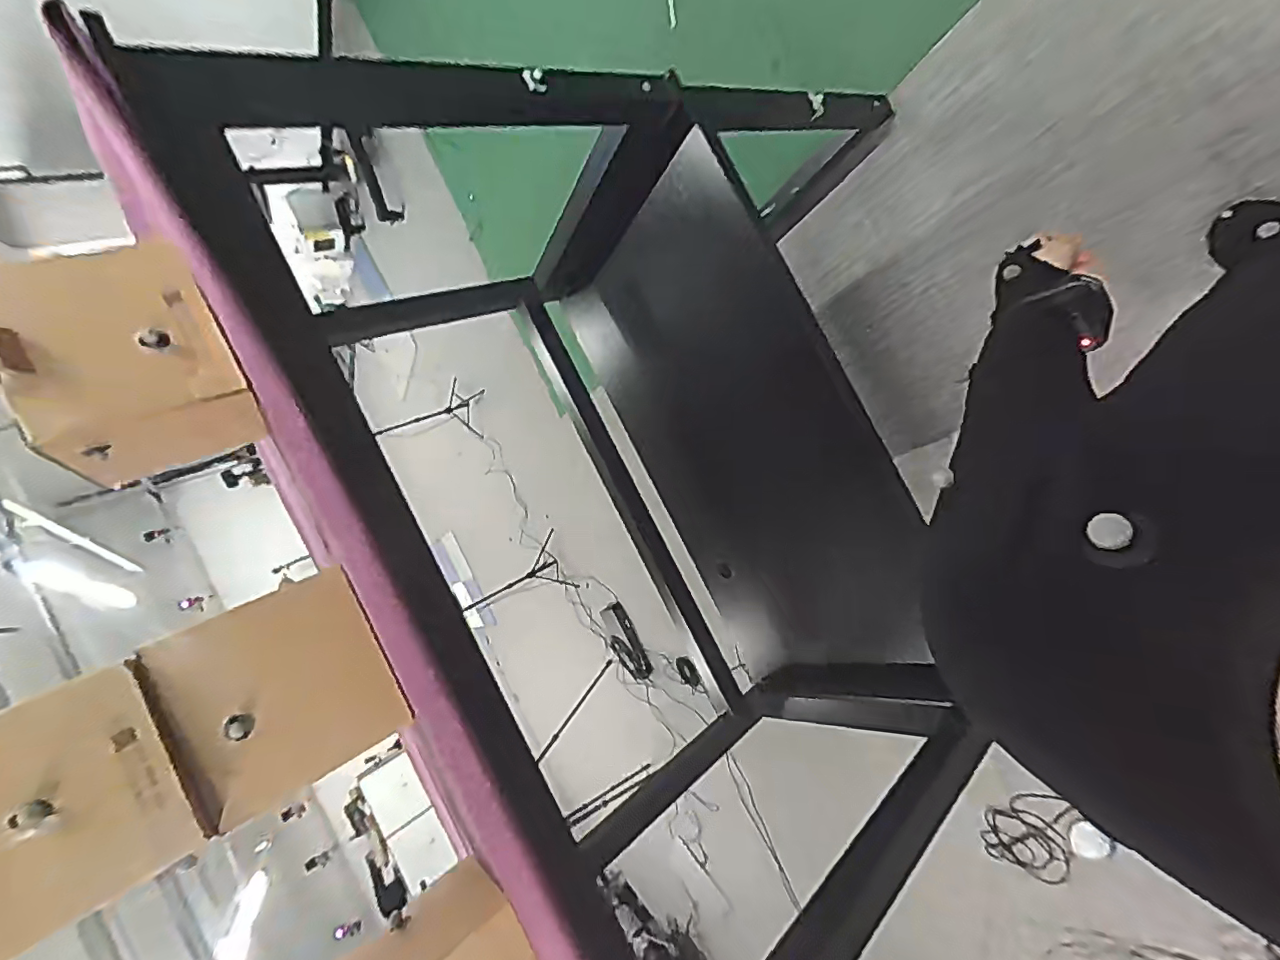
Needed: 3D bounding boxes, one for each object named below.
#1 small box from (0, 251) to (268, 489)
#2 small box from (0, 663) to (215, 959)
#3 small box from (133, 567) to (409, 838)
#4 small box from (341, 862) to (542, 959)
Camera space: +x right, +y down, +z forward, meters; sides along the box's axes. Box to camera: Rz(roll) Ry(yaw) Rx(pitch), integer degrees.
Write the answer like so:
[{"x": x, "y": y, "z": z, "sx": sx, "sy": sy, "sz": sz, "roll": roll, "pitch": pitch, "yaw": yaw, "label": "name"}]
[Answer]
[{"x": -0.520, "y": -0.111, "z": 0.567, "sx": 0.179, "sy": 0.176, "sz": 0.168, "roll": -26, "pitch": 91, "yaw": 59, "label": "small box"}, {"x": -0.476, "y": 0.273, "z": 0.461, "sx": 0.168, "sy": 0.176, "sz": 0.179, "roll": 61, "pitch": 147, "yaw": 6, "label": "small box"}, {"x": -0.358, "y": 0.211, "z": 0.558, "sx": 0.168, "sy": 0.176, "sz": 0.179, "roll": -30, "pitch": 85, "yaw": 58, "label": "small box"}, {"x": -0.180, "y": 0.510, "z": 0.512, "sx": 0.168, "sy": 0.176, "sz": 0.179, "roll": 60, "pitch": 145, "yaw": 5, "label": "small box"}]
